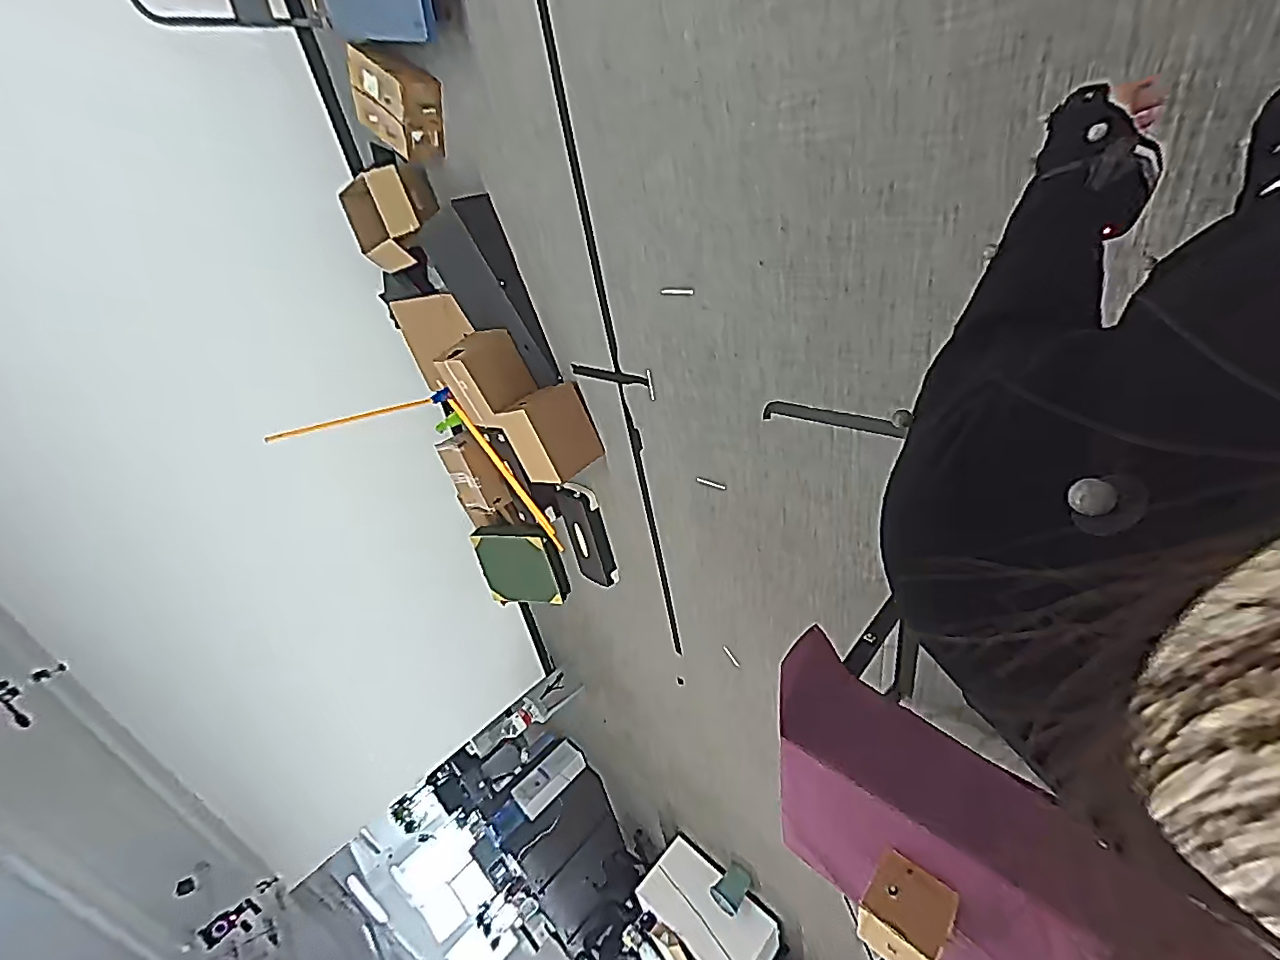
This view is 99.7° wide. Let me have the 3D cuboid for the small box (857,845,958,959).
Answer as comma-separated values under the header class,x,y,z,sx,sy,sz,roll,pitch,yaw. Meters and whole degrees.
class,x,y,z,sx,sy,sz,roll,pitch,yaw
small box,0.639,1.030,1.295,0.168,0.176,0.179,20,133,42
